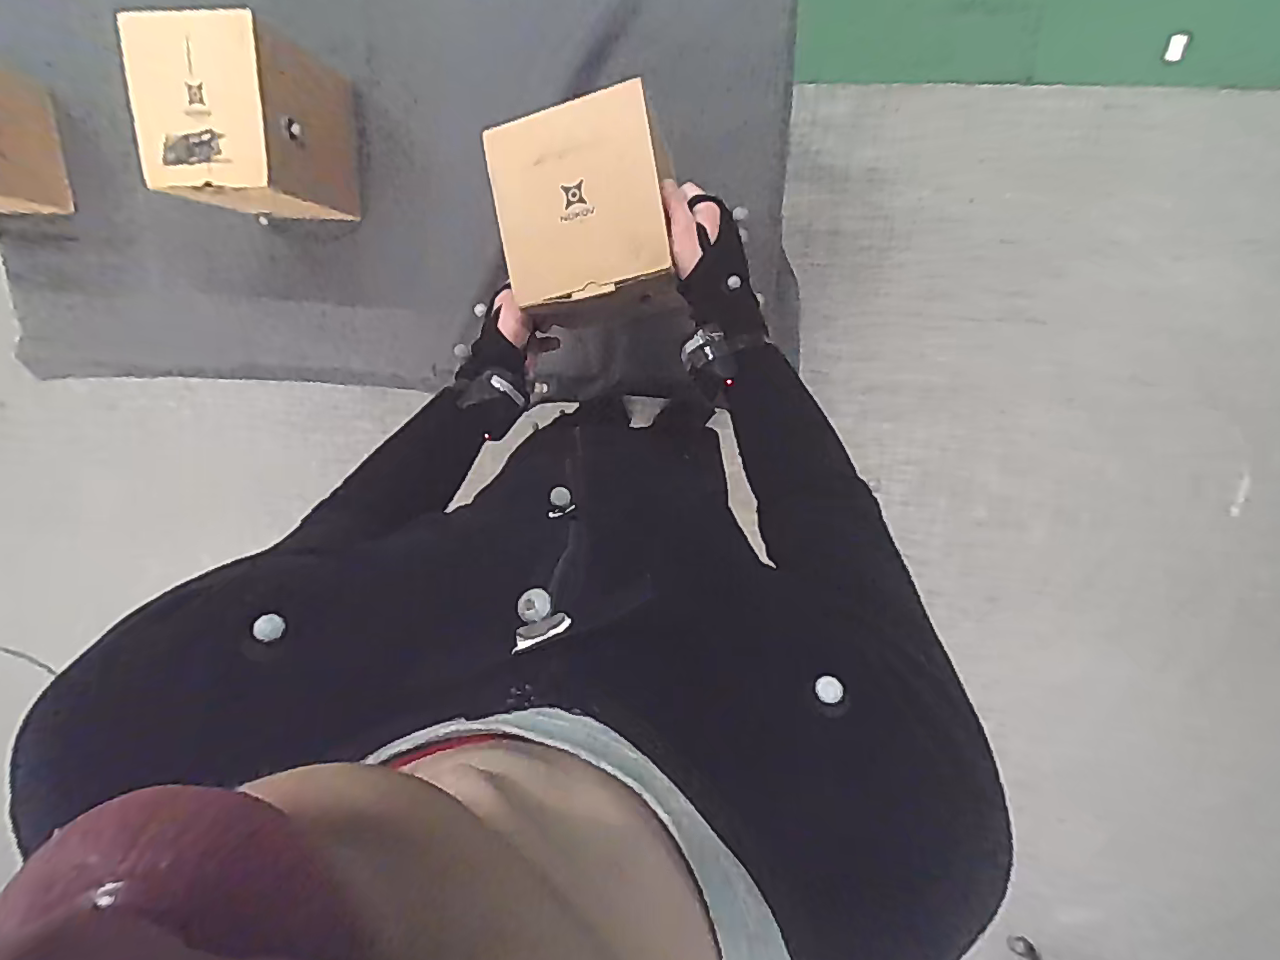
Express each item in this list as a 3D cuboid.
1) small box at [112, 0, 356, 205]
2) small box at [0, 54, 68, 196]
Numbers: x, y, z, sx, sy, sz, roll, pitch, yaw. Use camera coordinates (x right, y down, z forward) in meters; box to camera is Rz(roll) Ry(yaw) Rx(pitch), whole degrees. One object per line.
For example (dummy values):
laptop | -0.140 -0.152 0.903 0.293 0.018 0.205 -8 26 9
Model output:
small box | -0.478 -0.452 0.669 0.168 0.176 0.179 6 106 7
small box | -0.947 -0.493 0.731 0.168 0.176 0.179 4 107 6
